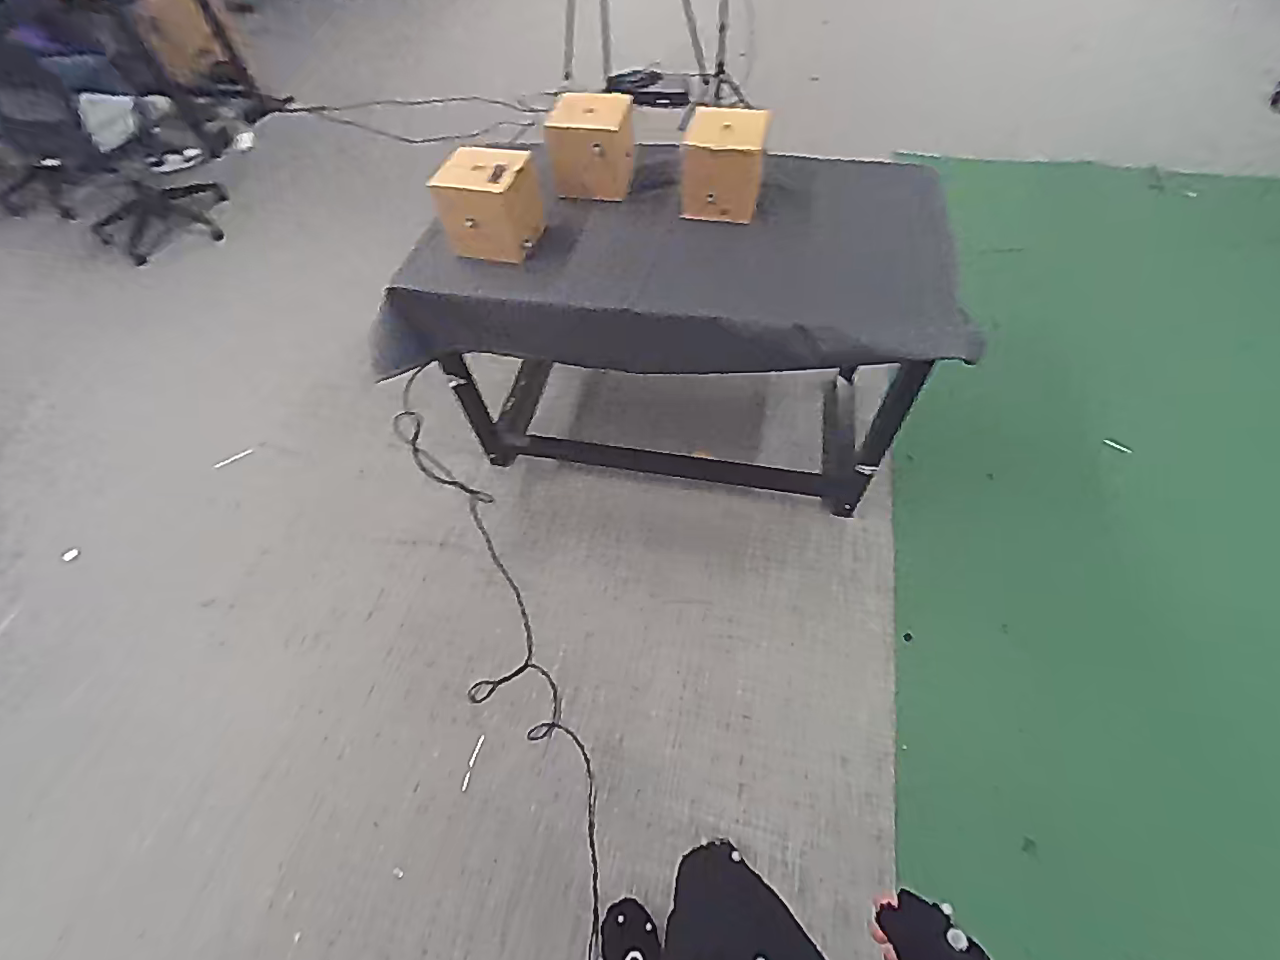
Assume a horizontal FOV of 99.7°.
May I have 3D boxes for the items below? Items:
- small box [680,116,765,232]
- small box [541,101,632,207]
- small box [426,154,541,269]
[{"bbox_3d":[0.188,-0.712,1.261,0.168,0.176,0.179,10,59,9],"label":"small box"},{"bbox_3d":[-0.121,-0.796,1.329,0.179,0.176,0.168,9,58,9],"label":"small box"},{"bbox_3d":[-0.339,-0.600,1.217,0.179,0.176,0.168,11,58,11],"label":"small box"}]
